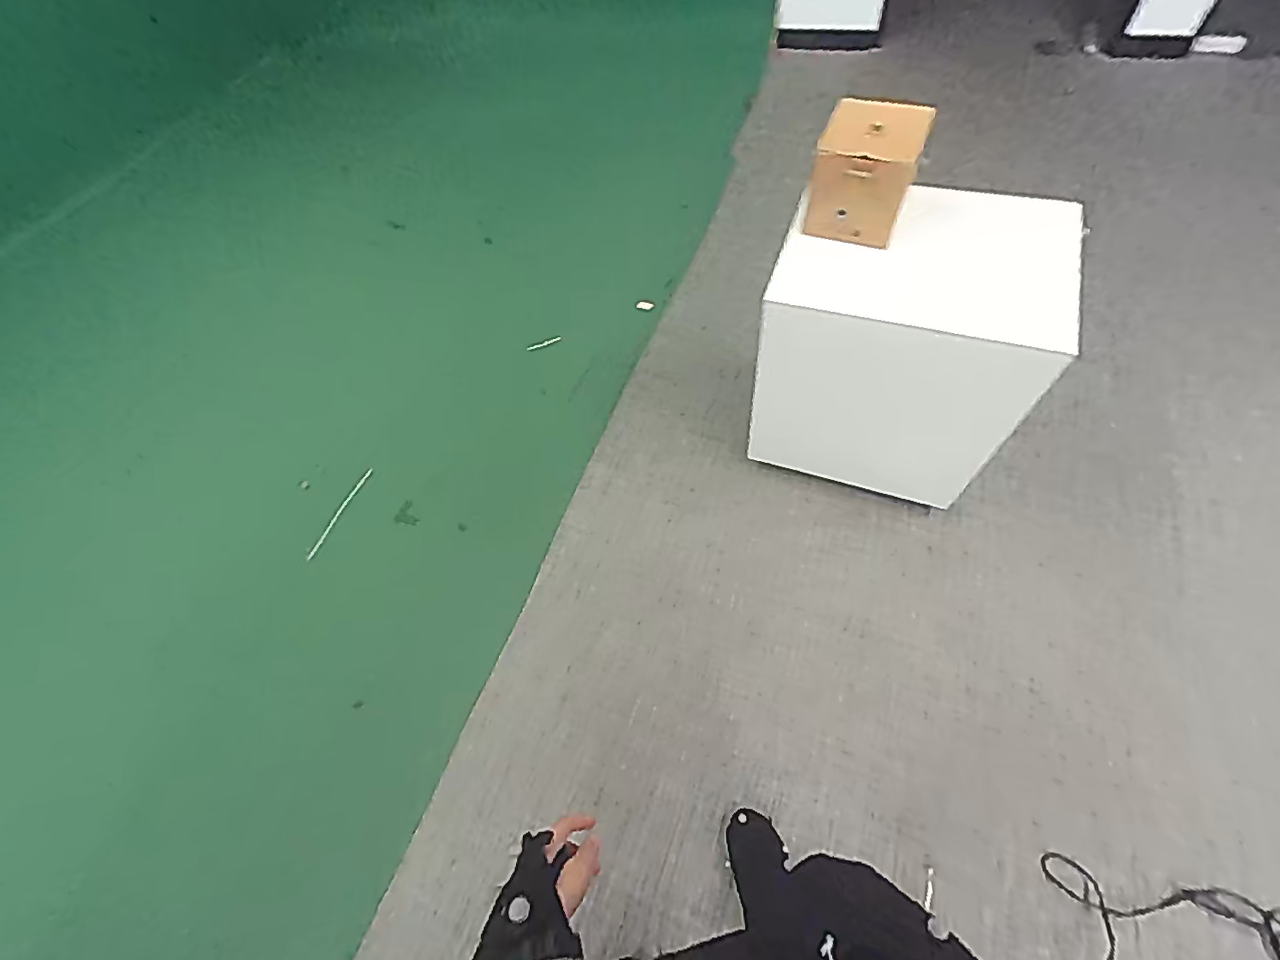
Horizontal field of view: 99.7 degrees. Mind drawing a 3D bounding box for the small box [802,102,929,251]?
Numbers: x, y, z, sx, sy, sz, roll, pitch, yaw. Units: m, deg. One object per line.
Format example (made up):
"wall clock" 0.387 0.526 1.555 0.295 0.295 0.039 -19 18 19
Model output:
"small box" 0.416 -0.569 1.021 0.168 0.176 0.179 19 65 16
